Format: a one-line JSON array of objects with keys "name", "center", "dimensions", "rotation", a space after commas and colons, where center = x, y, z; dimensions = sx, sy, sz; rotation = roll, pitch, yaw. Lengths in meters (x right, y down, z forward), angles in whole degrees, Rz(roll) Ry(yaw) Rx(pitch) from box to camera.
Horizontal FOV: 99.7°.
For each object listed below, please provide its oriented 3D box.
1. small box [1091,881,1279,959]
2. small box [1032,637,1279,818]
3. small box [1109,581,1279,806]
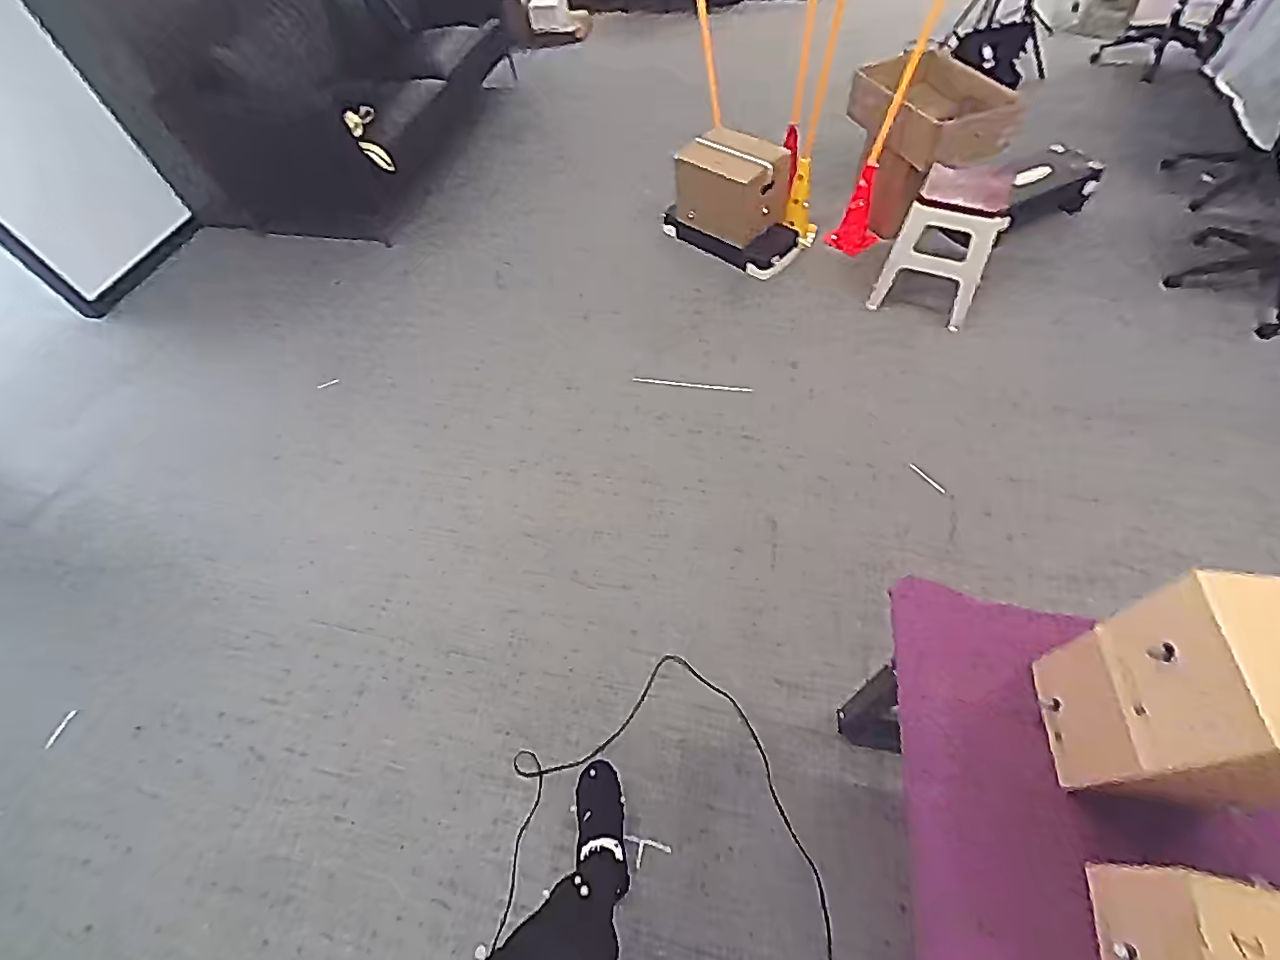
[{"name": "small box", "center": [0.601, 0.514, 0.529], "dimensions": [0.179, 0.176, 0.168], "rotation": [9, 57, 12]}, {"name": "small box", "center": [0.636, 0.309, 0.667], "dimensions": [0.179, 0.176, 0.168], "rotation": [4, 56, 9]}, {"name": "small box", "center": [0.619, 0.217, 0.535], "dimensions": [0.179, 0.176, 0.168], "rotation": [5, 55, 8]}]
